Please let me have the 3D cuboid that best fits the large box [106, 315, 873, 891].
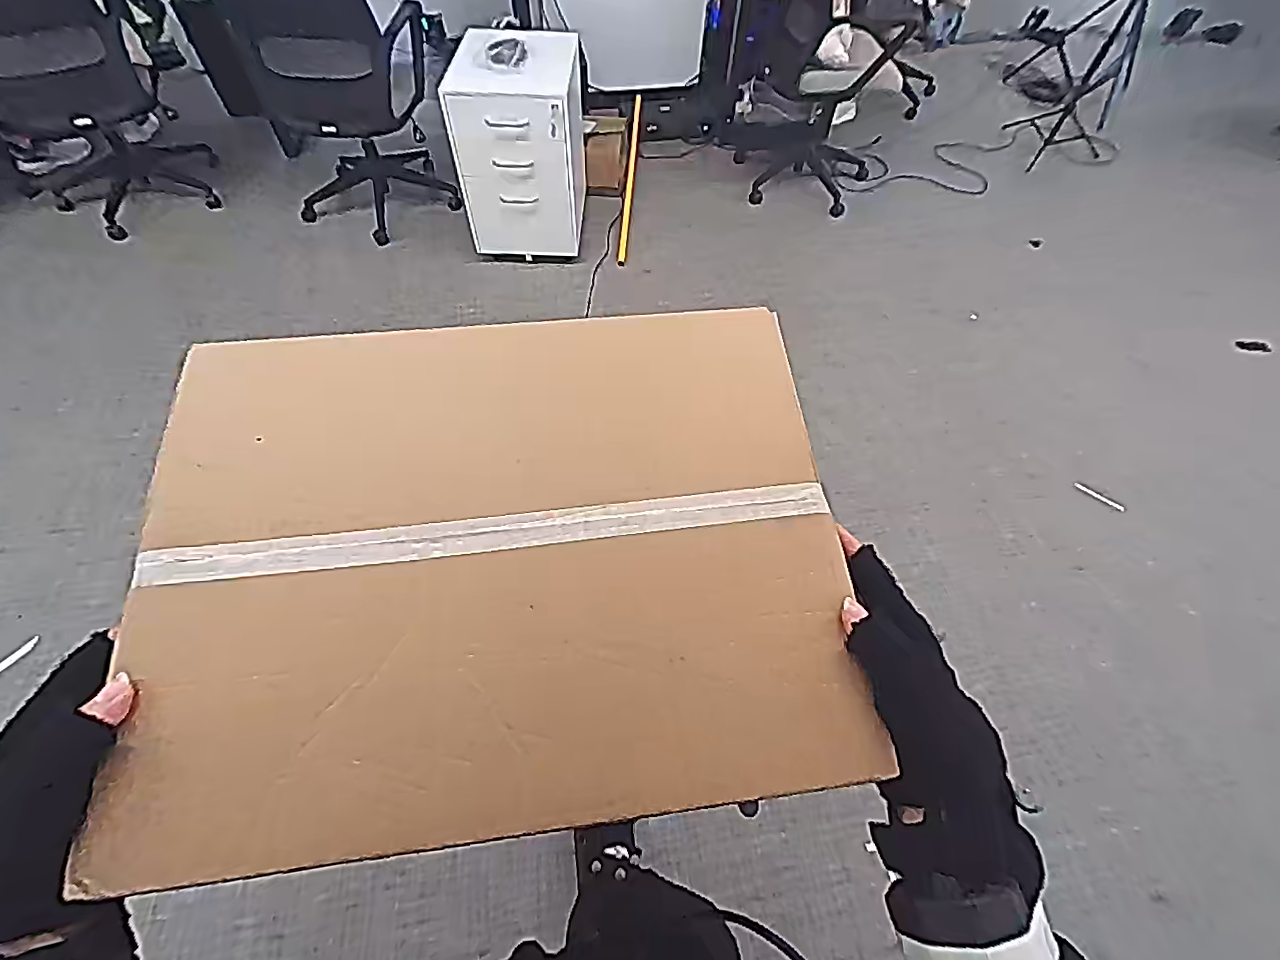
[{"bbox_3d":[-0.090,0.093,0.472,0.408,0.320,0.320,-6,67,-5],"label":"large box"}]
